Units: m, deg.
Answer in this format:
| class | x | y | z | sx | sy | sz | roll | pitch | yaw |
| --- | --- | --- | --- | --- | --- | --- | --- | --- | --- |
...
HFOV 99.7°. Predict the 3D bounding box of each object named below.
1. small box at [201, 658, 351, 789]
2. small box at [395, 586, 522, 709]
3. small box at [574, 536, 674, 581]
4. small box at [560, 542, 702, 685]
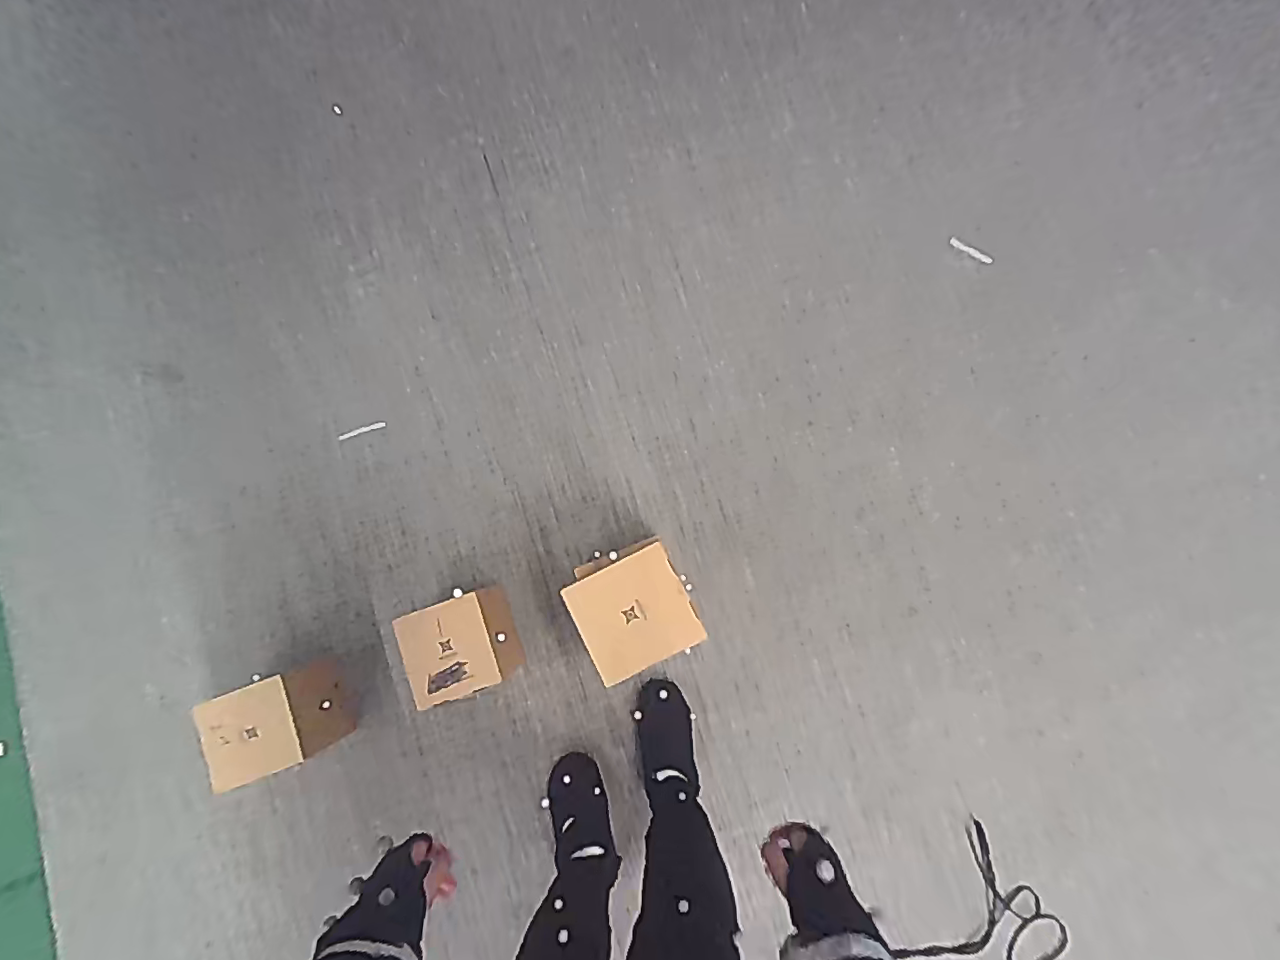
| class | x | y | z | sx | sy | sz | roll | pitch | yaw |
| --- | --- | --- | --- | --- | --- | --- | --- | --- | --- |
| small box | -0.710 | 0.472 | 1.080 | 0.179 | 0.176 | 0.168 | -20 | 82 | 0 |
| small box | -0.351 | 0.323 | 1.079 | 0.168 | 0.176 | 0.179 | -19 | 83 | 0 |
| small box | -0.012 | 0.220 | 1.076 | 0.179 | 0.176 | 0.168 | -22 | 84 | 0 |
| small box | -0.011 | 0.216 | 0.913 | 0.179 | 0.176 | 0.168 | -27 | 84 | -1 |
